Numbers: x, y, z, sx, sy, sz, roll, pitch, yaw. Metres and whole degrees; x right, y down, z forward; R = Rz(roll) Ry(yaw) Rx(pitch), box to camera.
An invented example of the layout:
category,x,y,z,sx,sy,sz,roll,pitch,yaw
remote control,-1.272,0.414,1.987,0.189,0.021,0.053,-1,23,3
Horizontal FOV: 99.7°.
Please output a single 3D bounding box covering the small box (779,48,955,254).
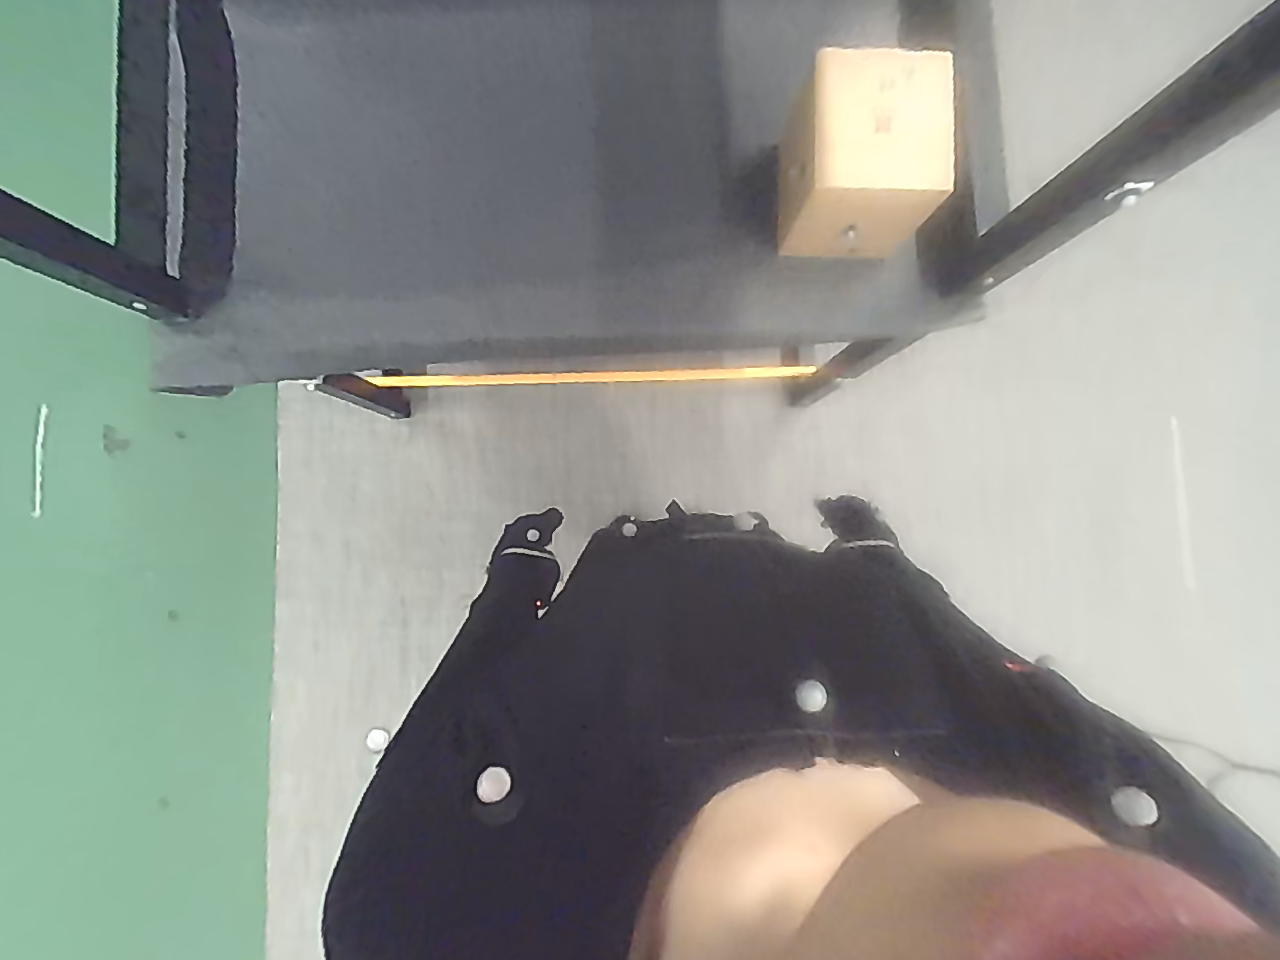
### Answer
category,x,y,z,sx,sy,sz,roll,pitch,yaw
small box,0.289,-0.421,0.718,0.168,0.176,0.179,2,86,-1
